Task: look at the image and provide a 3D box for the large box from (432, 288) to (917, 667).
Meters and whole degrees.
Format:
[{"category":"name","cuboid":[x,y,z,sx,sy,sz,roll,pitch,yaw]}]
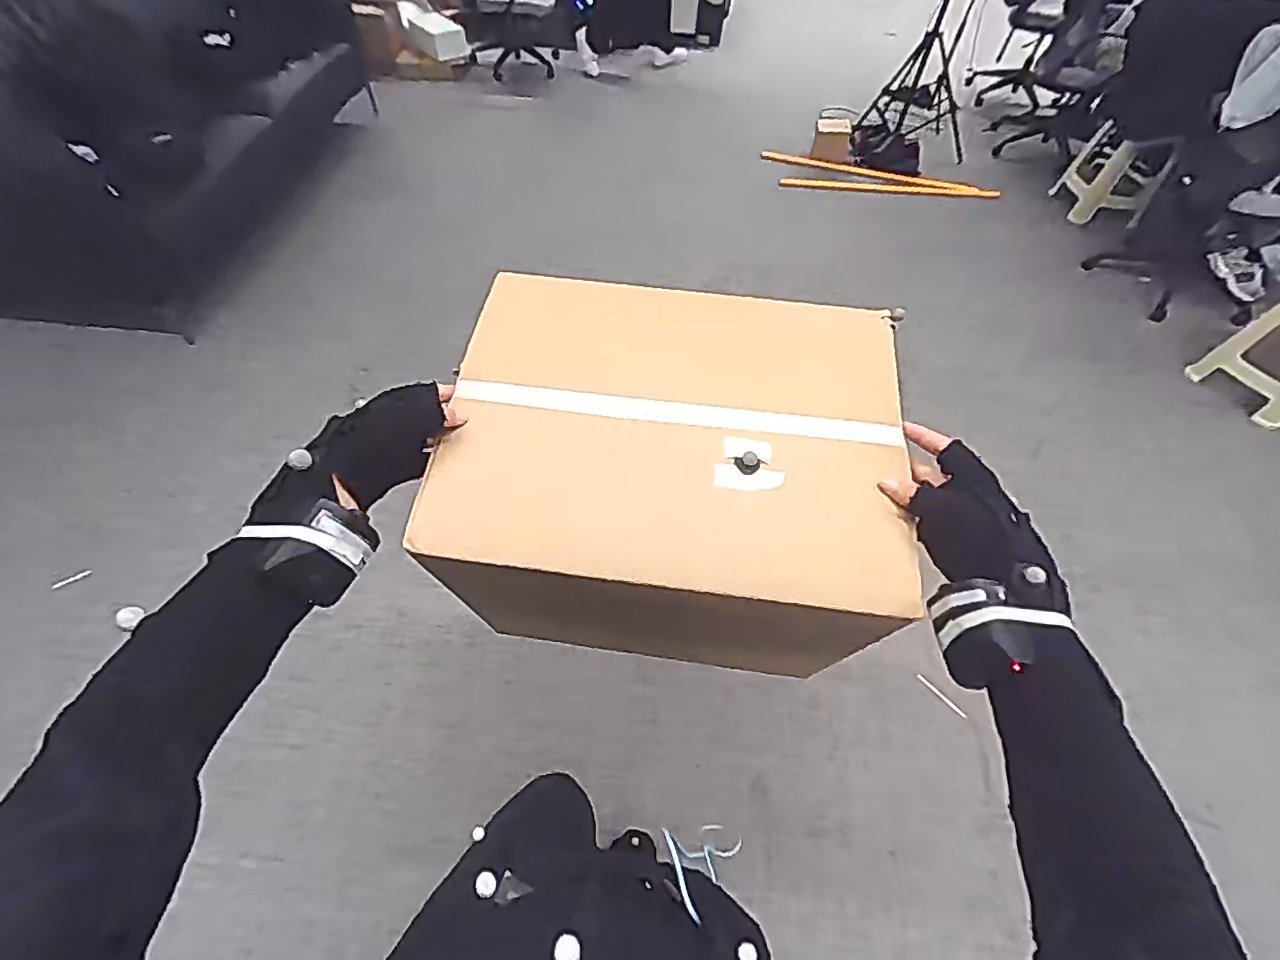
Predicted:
[{"category":"large box","cuboid":[0.037,0.016,0.634,0.408,0.320,0.320,7,63,2]}]
